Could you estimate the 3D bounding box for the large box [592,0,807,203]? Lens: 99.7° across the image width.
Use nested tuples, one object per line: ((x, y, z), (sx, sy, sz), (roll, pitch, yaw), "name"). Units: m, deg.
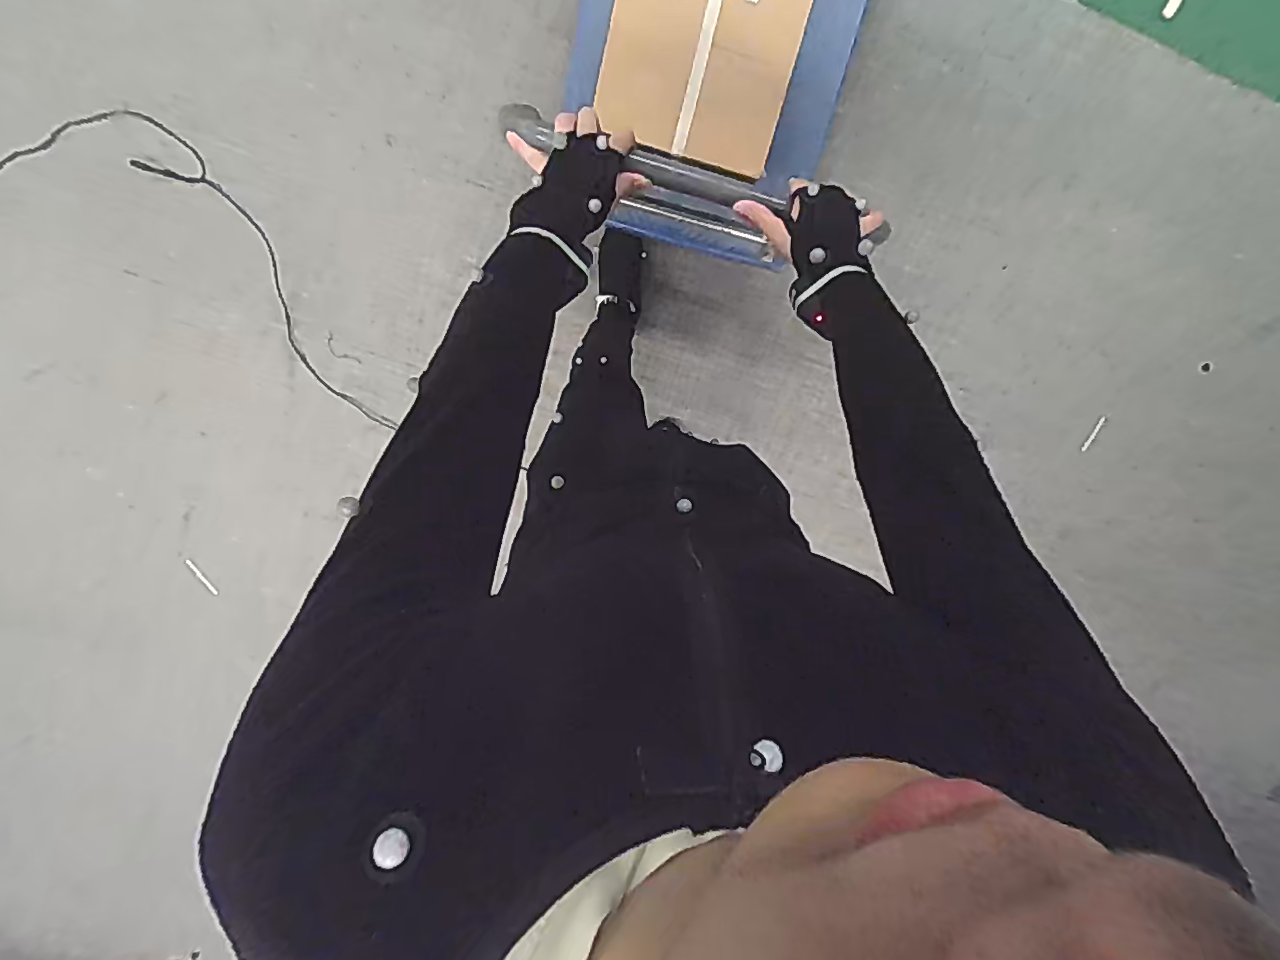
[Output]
((0.108, -0.803, 1.028), (0.320, 0.320, 0.408), (13, 106, -5), "large box")
